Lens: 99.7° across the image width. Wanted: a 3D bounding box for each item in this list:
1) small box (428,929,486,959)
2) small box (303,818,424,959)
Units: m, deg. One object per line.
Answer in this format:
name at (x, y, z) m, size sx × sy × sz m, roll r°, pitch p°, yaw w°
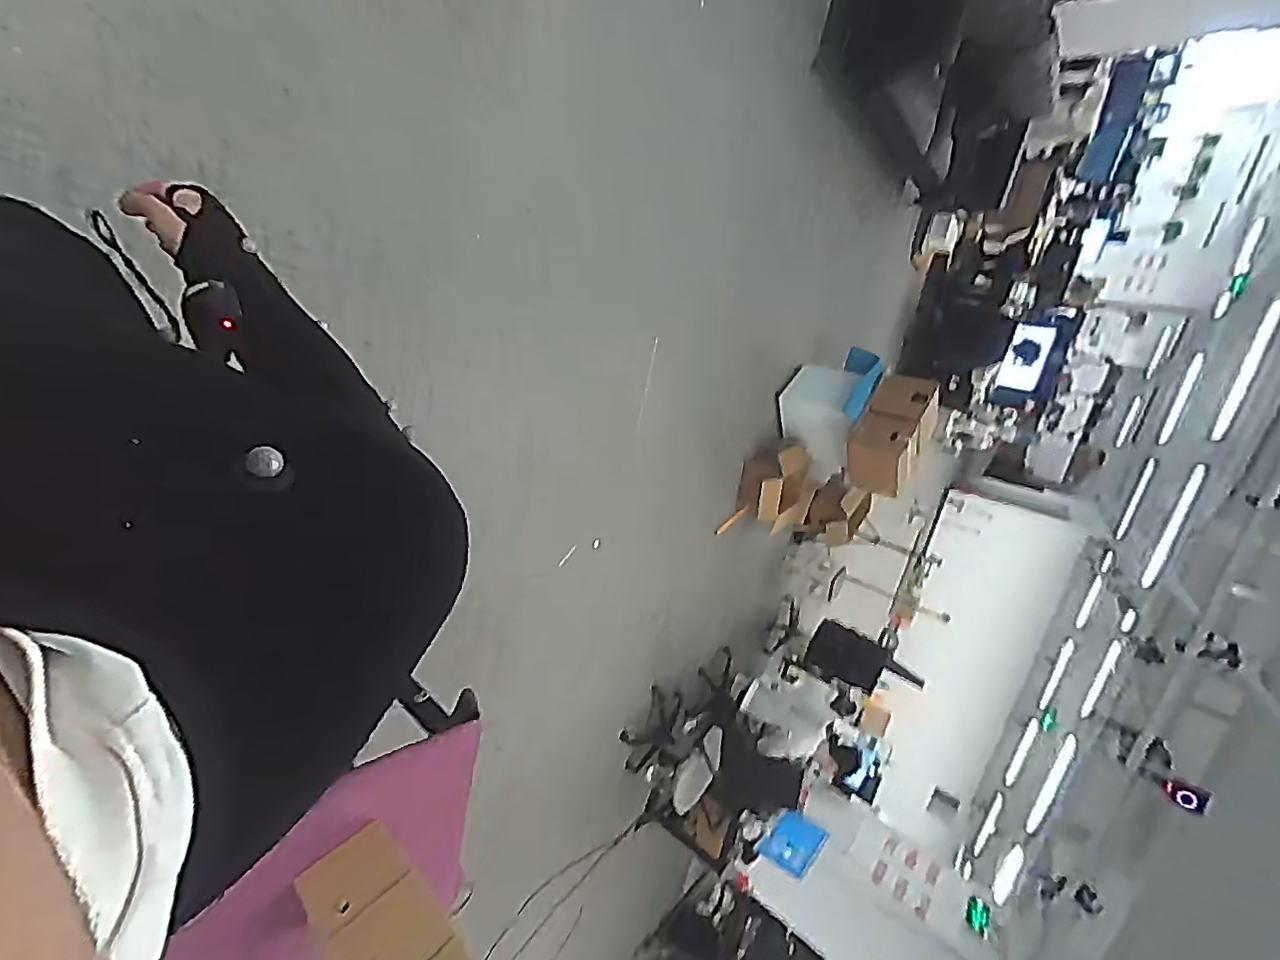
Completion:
small box at (-0.341, 0.975, 0.963) m, size 0.179 × 0.176 × 0.168 m, roll -26°, pitch 127°, yaw -45°
small box at (-0.591, 0.882, 1.152) m, size 0.179 × 0.176 × 0.168 m, roll -24°, pitch 127°, yaw -46°
